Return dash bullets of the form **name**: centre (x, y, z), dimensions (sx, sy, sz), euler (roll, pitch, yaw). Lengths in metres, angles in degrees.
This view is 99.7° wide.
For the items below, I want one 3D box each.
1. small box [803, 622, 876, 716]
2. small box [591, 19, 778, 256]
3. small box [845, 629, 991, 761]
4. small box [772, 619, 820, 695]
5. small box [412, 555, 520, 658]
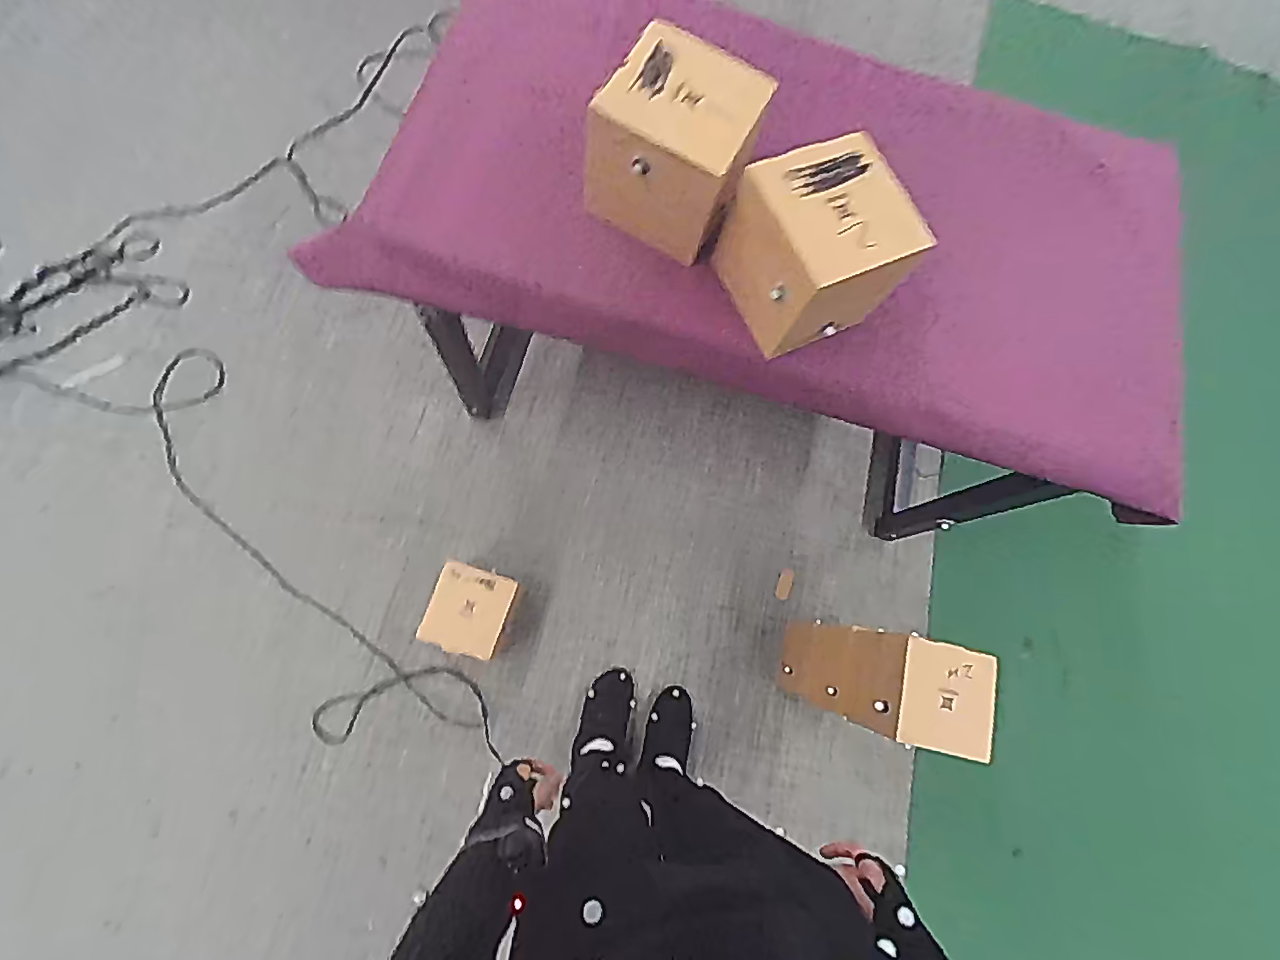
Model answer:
- **small box**: centre (0.463, 0.403, 1.141), dimensions (0.168, 0.176, 0.179), euler (15, 76, -4)
- **small box**: centre (0.046, -0.435, 0.712), dimensions (0.179, 0.176, 0.168), euler (29, 74, 0)
- **small box**: centre (0.494, 0.378, 0.981), dimensions (0.168, 0.176, 0.179), euler (15, 76, -4)
- **small box**: centre (0.438, 0.439, 1.297), dimensions (0.179, 0.176, 0.168), euler (18, 75, -3)
- **small box**: centre (-0.383, 0.287, 1.228), dimensions (0.168, 0.176, 0.179), euler (20, 75, -2)
